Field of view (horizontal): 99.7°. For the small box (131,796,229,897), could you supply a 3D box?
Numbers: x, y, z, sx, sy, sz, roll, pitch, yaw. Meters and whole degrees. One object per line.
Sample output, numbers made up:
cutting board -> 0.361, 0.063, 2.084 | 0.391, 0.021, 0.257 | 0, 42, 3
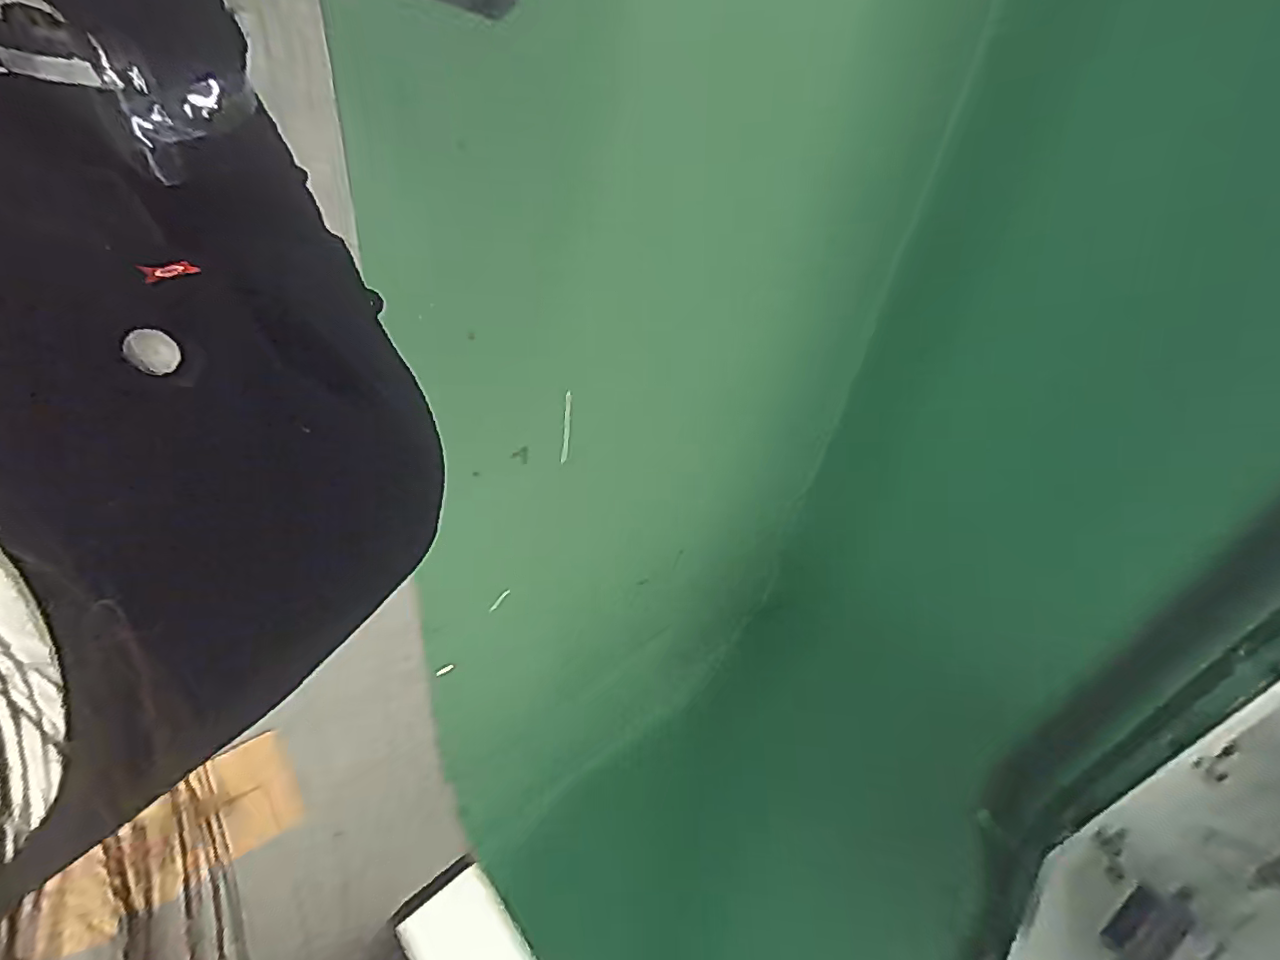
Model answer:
small box -> -1.438, 1.139, 1.692 | 0.179, 0.176, 0.168 | -28, 140, -36
